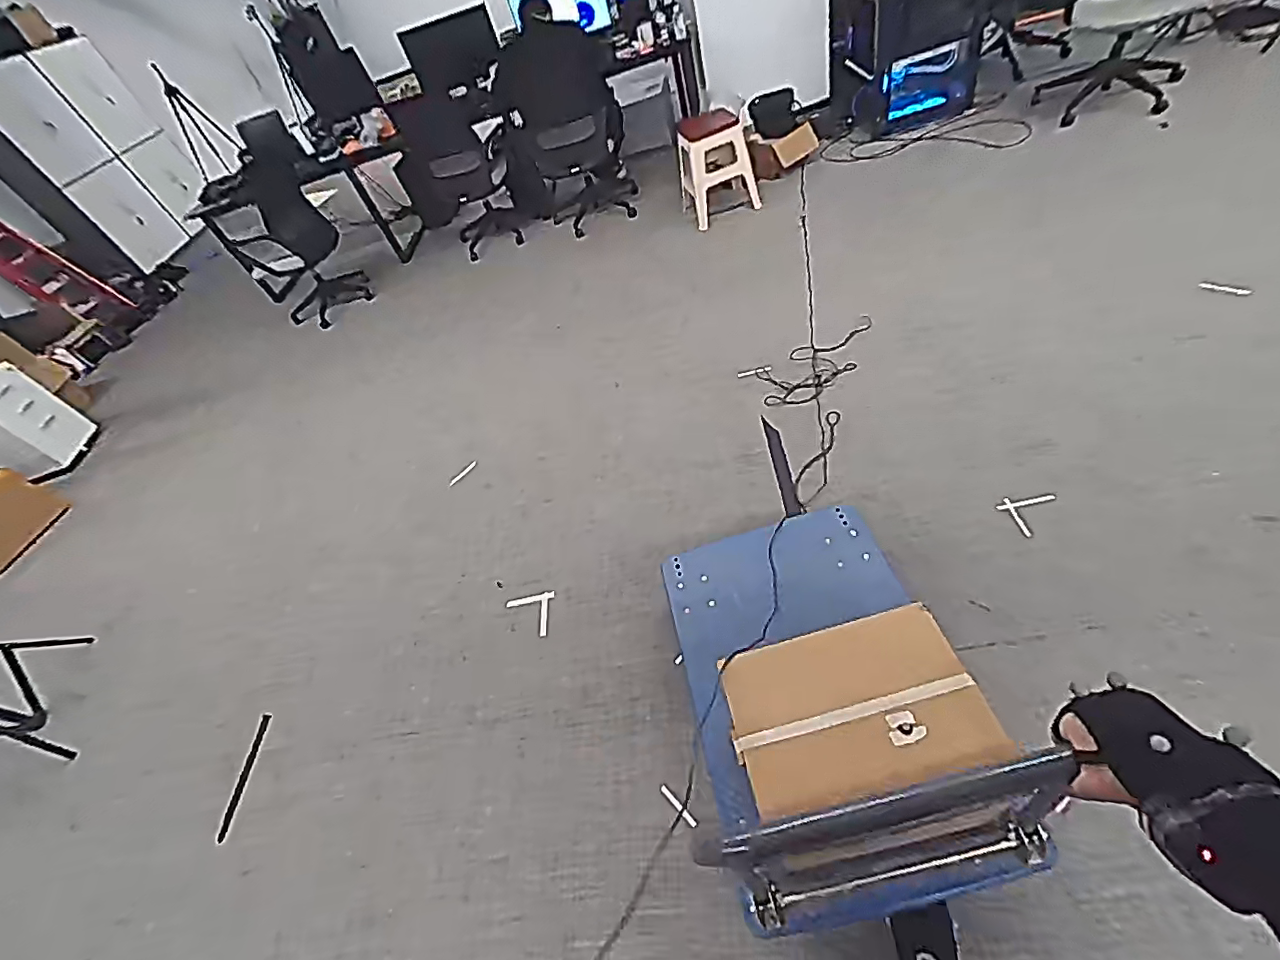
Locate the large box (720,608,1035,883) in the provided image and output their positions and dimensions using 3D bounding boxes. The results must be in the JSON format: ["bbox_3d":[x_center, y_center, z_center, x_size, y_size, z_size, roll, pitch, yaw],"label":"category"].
[{"bbox_3d":[0.401,0.498,1.005,0.408,0.320,0.320,-18,46,4],"label":"large box"}]
